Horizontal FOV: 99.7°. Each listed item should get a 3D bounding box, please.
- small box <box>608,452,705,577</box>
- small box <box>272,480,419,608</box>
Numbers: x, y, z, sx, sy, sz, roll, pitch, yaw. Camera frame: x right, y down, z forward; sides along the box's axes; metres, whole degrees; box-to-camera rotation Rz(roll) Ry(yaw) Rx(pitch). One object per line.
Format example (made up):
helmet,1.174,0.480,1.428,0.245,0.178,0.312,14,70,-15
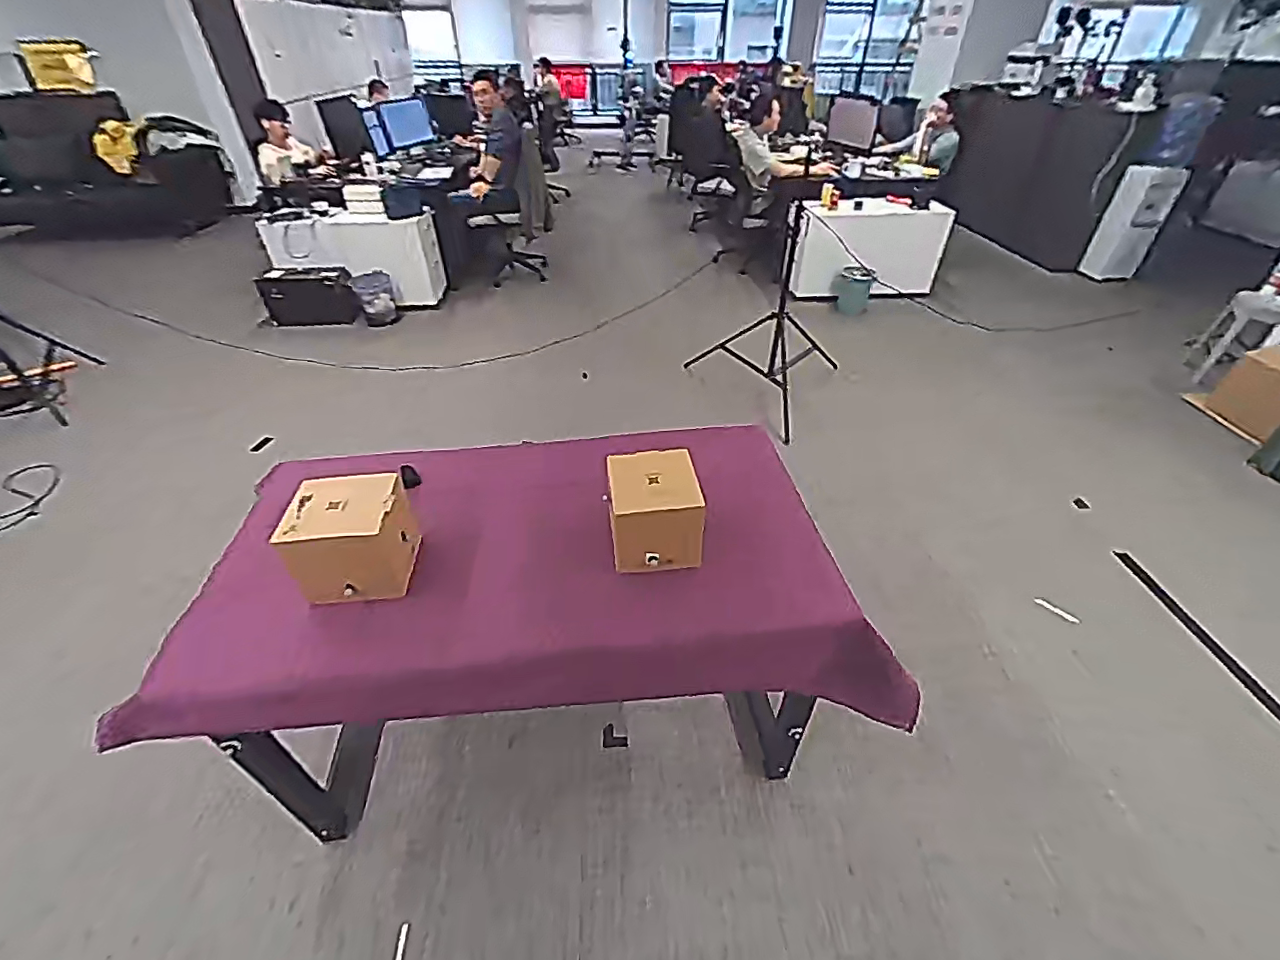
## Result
small box,0.026,0.067,1.069,0.168,0.176,0.179,-6,40,-5
small box,-0.530,0.118,1.007,0.179,0.176,0.168,-4,39,-6
